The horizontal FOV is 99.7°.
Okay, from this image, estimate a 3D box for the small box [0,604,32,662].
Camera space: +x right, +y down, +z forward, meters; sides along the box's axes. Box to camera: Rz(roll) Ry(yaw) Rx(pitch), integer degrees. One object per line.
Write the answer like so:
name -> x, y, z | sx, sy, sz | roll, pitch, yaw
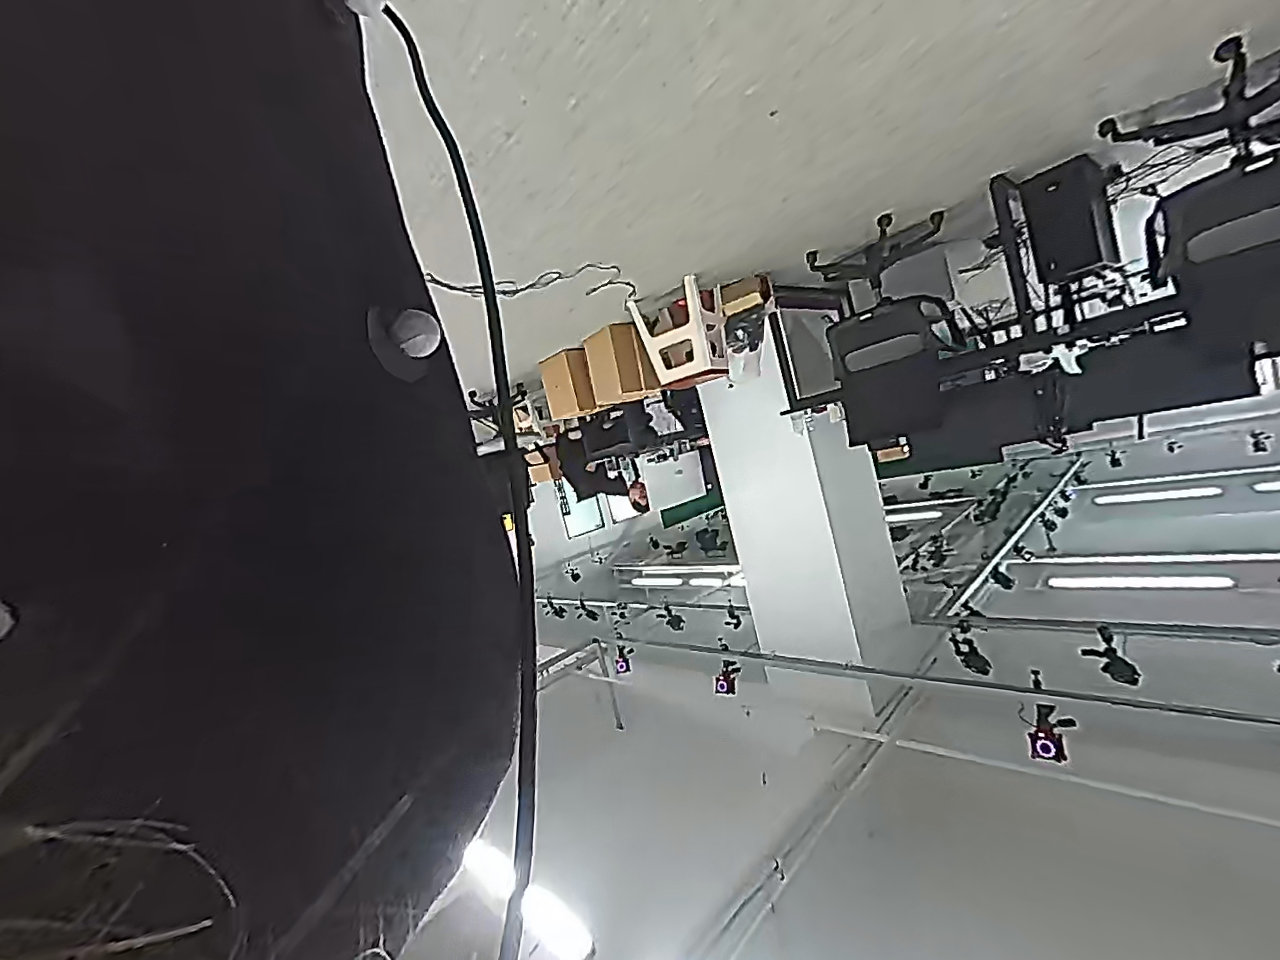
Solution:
small box -> -2.057, 0.500, 1.684 | 0.176, 0.168, 0.179 | -11, -169, 43
